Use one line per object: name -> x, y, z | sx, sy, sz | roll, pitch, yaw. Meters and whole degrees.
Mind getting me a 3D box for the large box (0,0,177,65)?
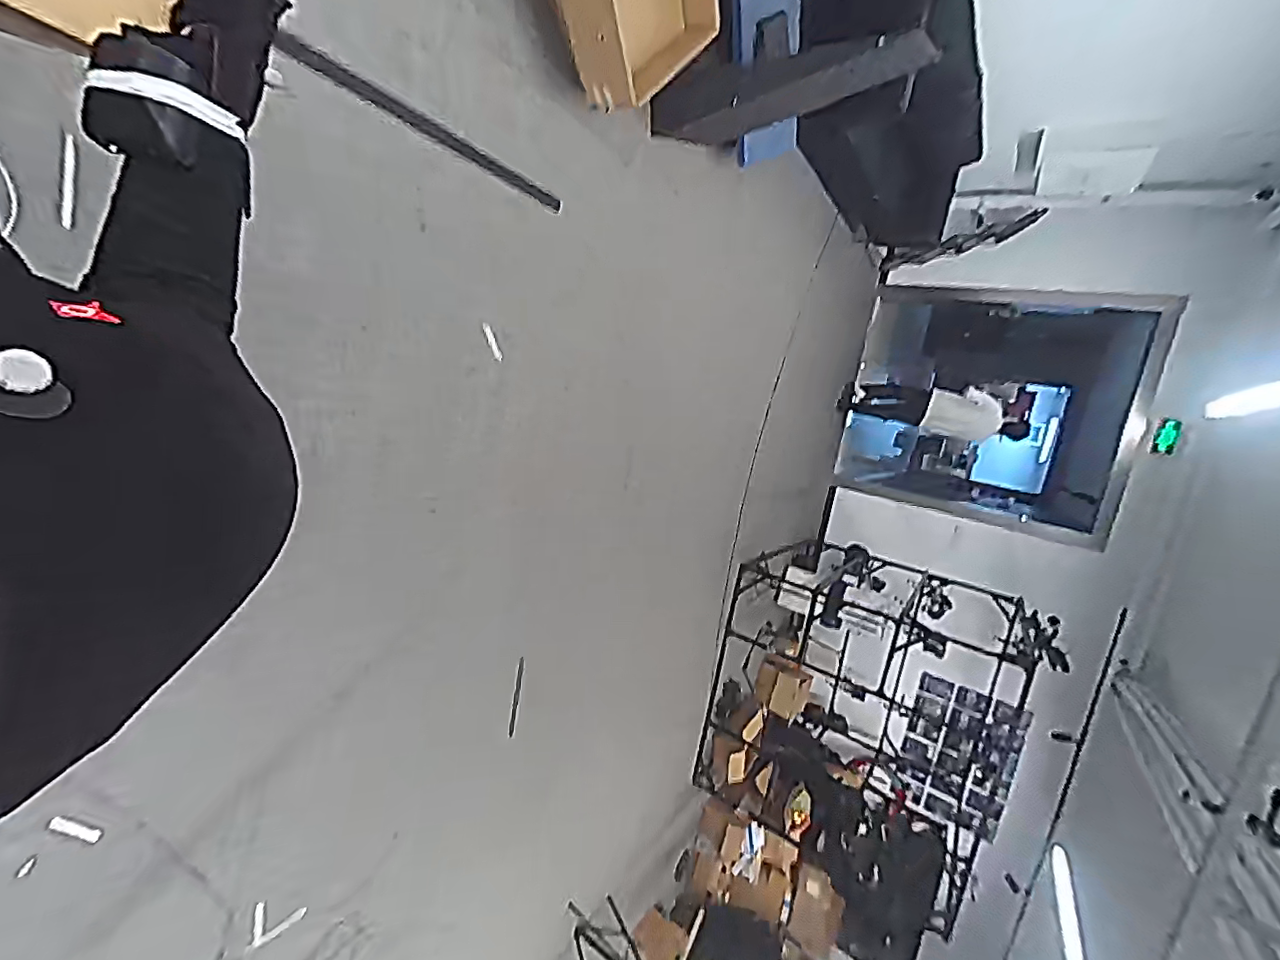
large box -> -0.498, -0.480, 0.235 | 0.408, 0.320, 0.320 | -5, 121, -61
